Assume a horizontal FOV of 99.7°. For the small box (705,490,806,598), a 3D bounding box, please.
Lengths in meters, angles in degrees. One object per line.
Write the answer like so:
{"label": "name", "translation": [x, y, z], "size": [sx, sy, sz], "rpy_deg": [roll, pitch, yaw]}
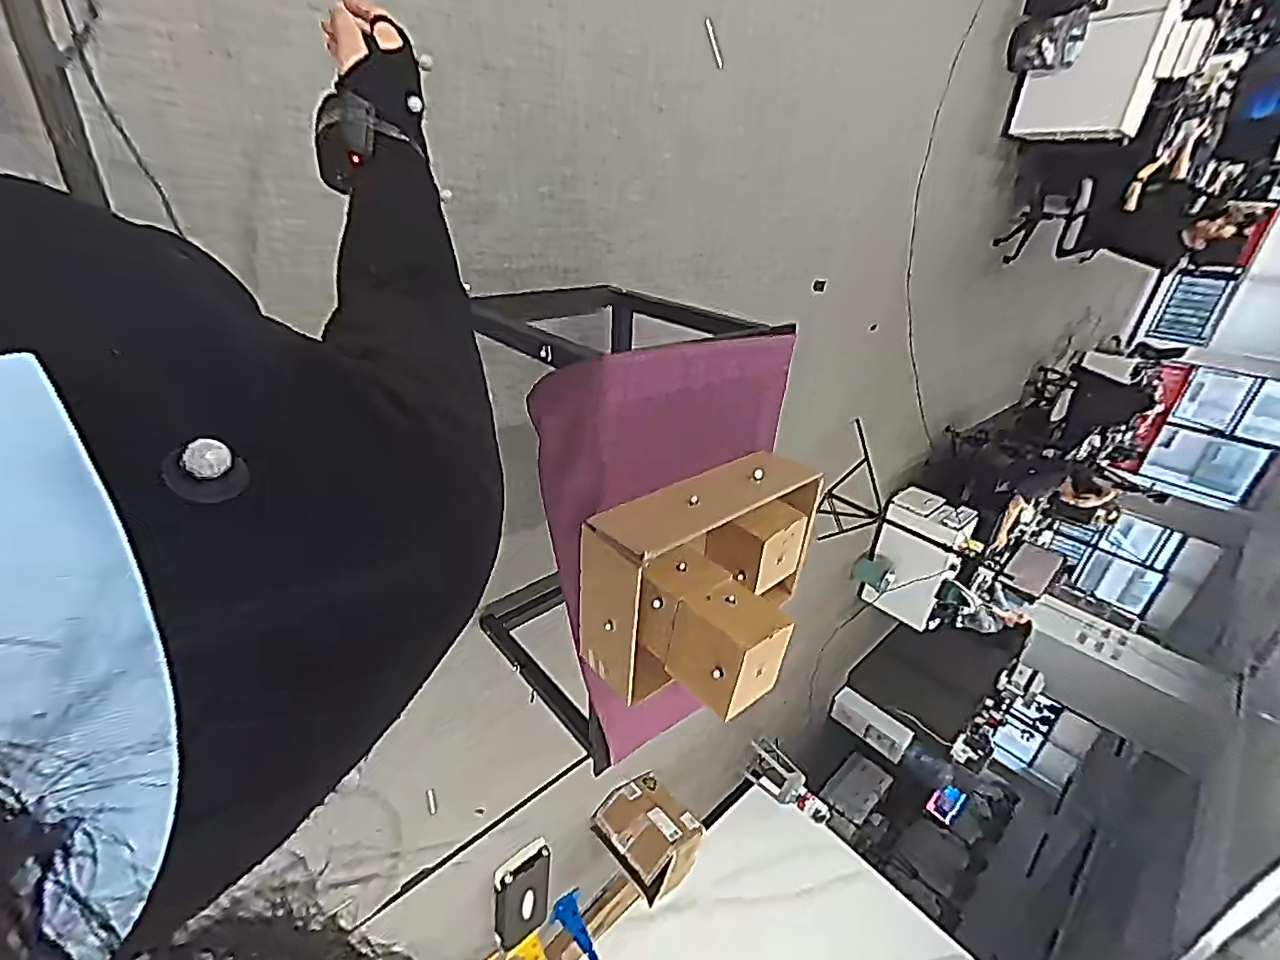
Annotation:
{"label": "small box", "translation": [0.280, 0.151, 1.339], "size": [0.168, 0.176, 0.179], "rpy_deg": [-22, 128, -35]}
